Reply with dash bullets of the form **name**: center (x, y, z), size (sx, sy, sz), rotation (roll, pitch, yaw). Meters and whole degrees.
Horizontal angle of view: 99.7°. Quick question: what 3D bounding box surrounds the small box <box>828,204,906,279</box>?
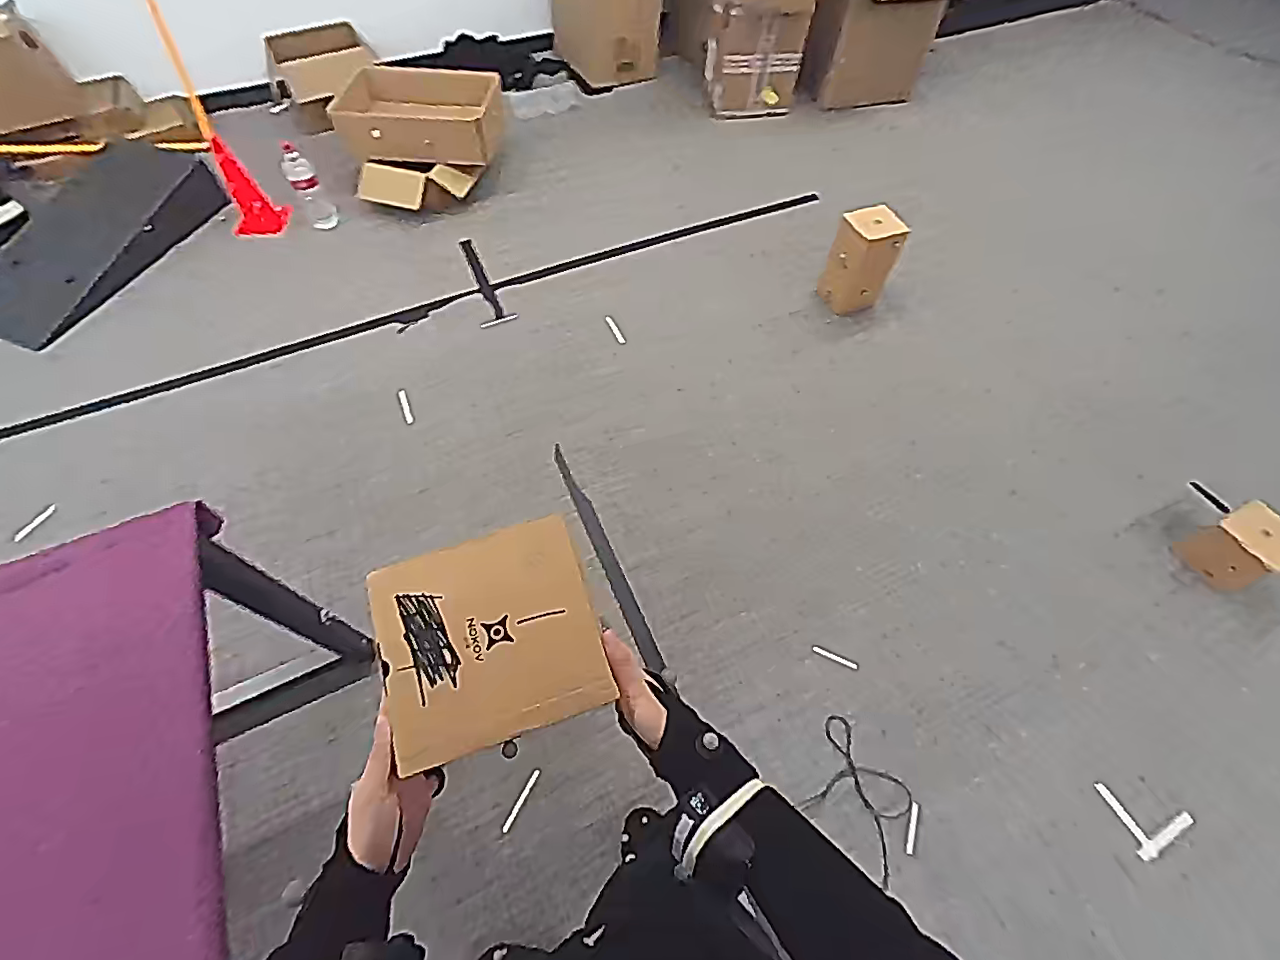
- **small box**: center (0.815, -0.862, 1.961), size (0.179, 0.176, 0.168), rotation (-19, 60, -11)

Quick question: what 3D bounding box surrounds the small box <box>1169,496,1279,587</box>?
- **small box**: center (1.691, 0.181, 1.548), size (0.179, 0.176, 0.168), rotation (-24, 63, -16)

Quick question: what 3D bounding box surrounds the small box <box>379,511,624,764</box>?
- **small box**: center (-0.119, 0.152, 0.522), size (0.179, 0.176, 0.168), rotation (-17, 70, -7)
